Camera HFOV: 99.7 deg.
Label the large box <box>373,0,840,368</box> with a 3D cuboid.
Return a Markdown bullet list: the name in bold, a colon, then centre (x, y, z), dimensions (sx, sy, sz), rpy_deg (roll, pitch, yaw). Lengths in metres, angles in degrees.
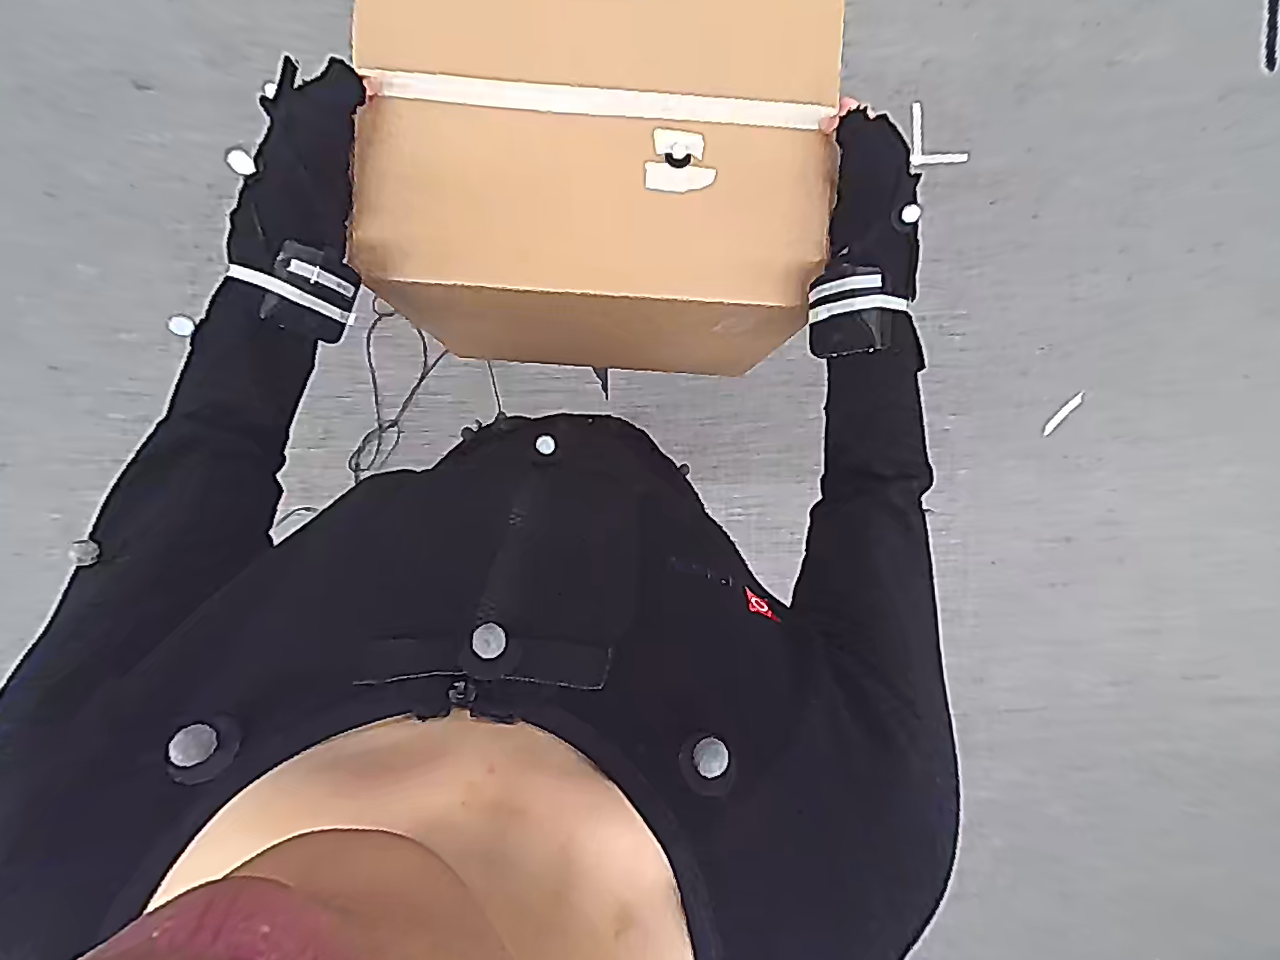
- **large box**: centre (-0.034, -0.319, 0.617), dimensions (0.408, 0.320, 0.320), rpy_deg (3, 90, -3)
